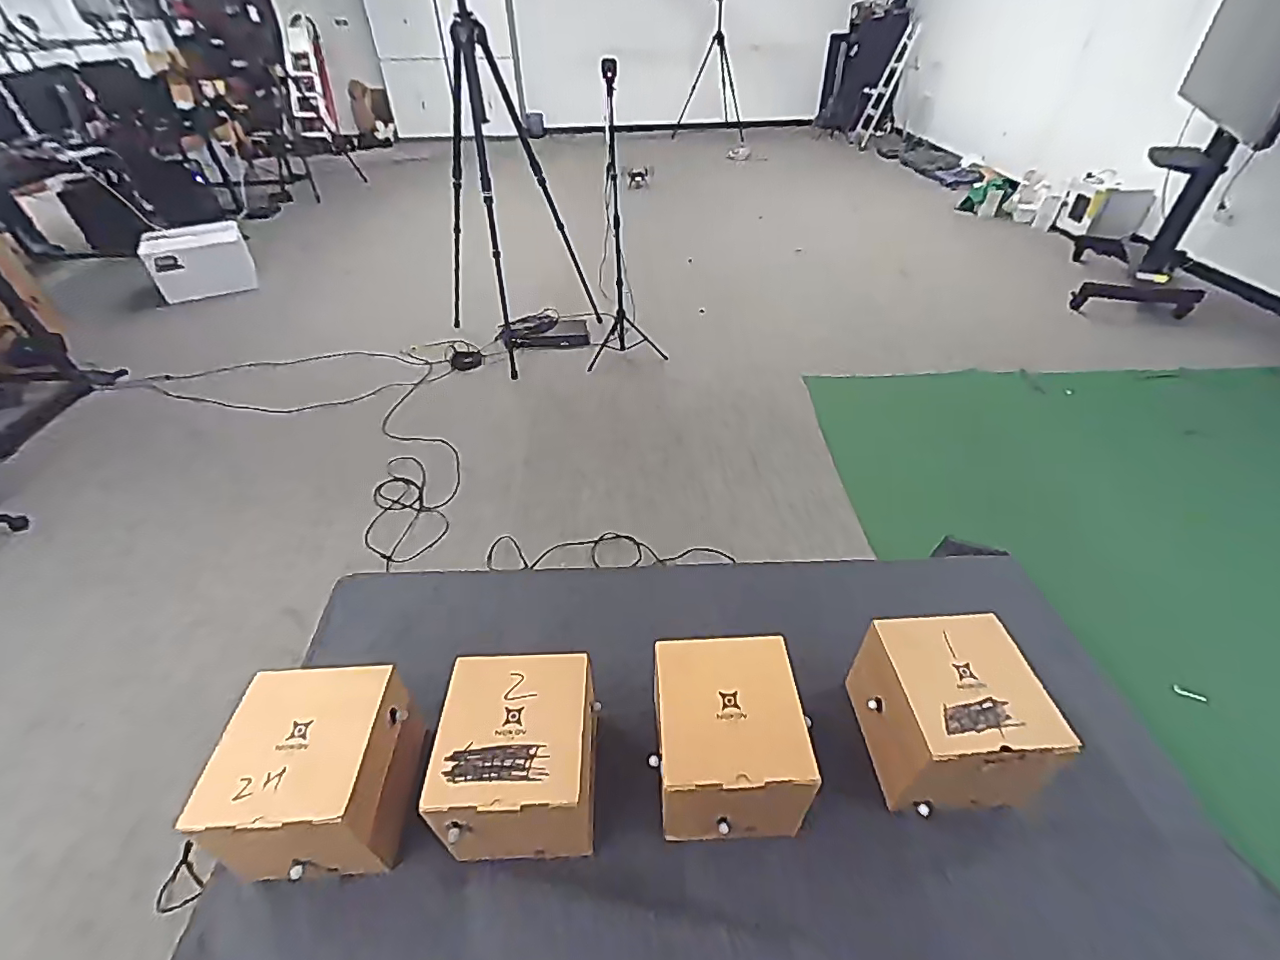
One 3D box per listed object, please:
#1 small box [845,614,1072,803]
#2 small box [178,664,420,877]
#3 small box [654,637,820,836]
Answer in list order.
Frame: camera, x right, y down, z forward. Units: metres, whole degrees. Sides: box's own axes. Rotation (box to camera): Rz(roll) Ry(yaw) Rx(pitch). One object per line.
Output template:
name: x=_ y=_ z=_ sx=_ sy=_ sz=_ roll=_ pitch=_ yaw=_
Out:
small box: x=0.387 y=0.297 z=0.697 sx=0.168 sy=0.176 sz=0.179 roll=-2 pitch=41 yaw=-1
small box: x=-0.381 y=0.346 z=0.650 sx=0.168 sy=0.176 sz=0.179 roll=-2 pitch=40 yaw=-3
small box: x=0.105 y=0.321 z=0.681 sx=0.168 sy=0.176 sz=0.179 roll=-2 pitch=42 yaw=-2
